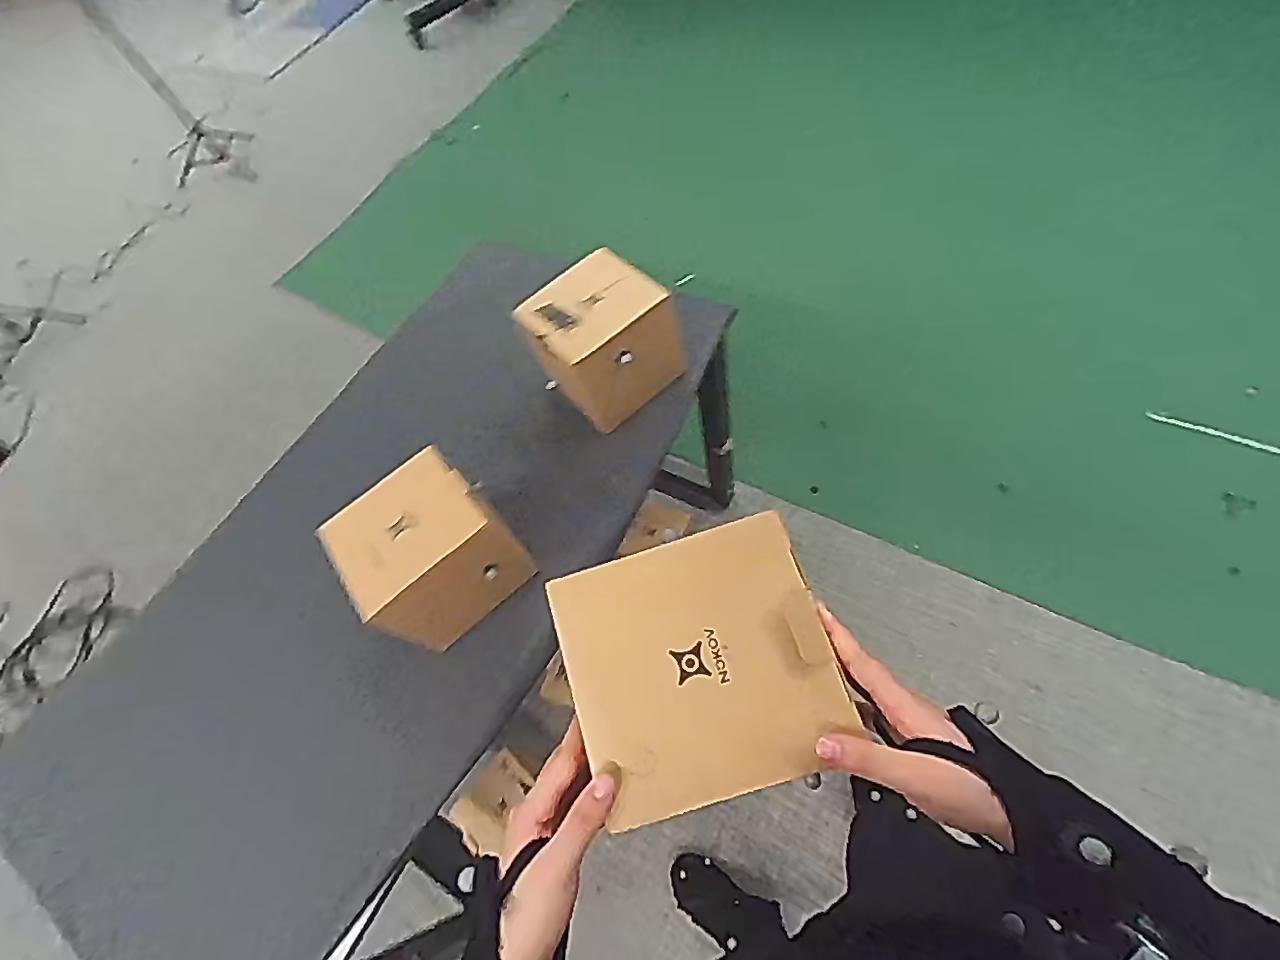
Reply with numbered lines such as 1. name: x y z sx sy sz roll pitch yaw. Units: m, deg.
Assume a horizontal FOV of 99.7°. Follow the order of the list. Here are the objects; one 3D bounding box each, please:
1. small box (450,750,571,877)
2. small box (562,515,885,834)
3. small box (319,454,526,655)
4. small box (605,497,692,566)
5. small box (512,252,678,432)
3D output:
1. small box: -0.284 0.745 1.227 0.168 0.176 0.179 35 75 25
2. small box: 0.058 0.146 0.431 0.179 0.176 0.168 -17 72 2
3. small box: -0.276 0.104 0.727 0.179 0.176 0.168 -42 59 -10
4. small box: 0.032 0.173 1.463 0.179 0.176 0.168 18 67 19
5. small box: -0.061 -0.208 0.843 0.179 0.176 0.168 -40 60 -10
